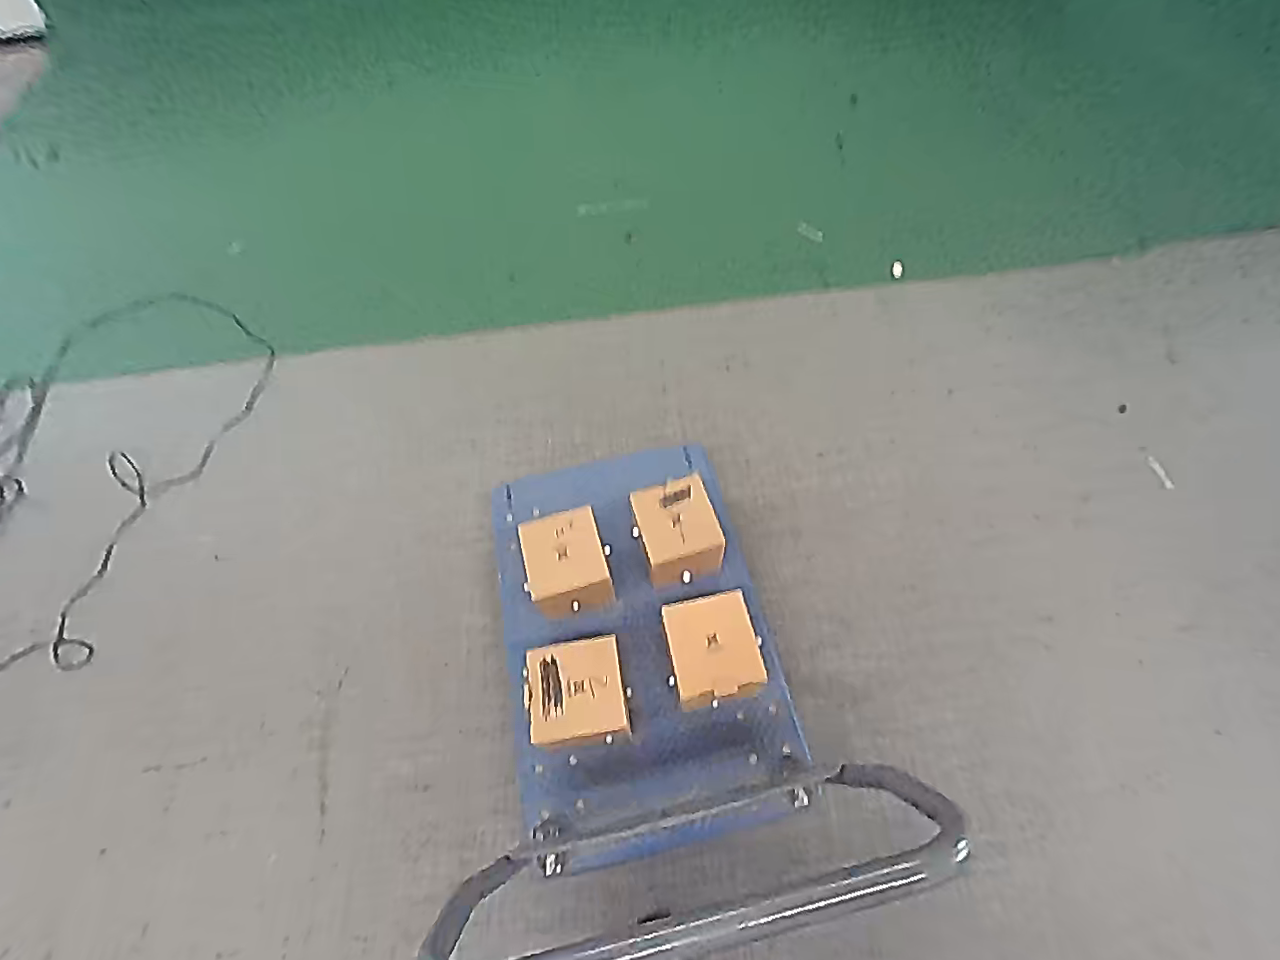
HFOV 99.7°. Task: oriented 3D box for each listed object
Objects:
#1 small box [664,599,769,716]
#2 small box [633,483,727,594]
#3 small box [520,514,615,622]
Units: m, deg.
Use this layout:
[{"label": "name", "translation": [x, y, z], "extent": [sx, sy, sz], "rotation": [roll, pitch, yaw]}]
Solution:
[{"label": "small box", "translation": [0.145, 0.364, 1.098], "extent": [0.168, 0.176, 0.179], "rotation": [-11, 60, -4]}, {"label": "small box", "translation": [0.086, 0.137, 1.233], "extent": [0.168, 0.176, 0.179], "rotation": [-16, 61, -5]}, {"label": "small box", "translation": [-0.156, 0.205, 1.207], "extent": [0.168, 0.176, 0.179], "rotation": [-15, 60, -6]}]
